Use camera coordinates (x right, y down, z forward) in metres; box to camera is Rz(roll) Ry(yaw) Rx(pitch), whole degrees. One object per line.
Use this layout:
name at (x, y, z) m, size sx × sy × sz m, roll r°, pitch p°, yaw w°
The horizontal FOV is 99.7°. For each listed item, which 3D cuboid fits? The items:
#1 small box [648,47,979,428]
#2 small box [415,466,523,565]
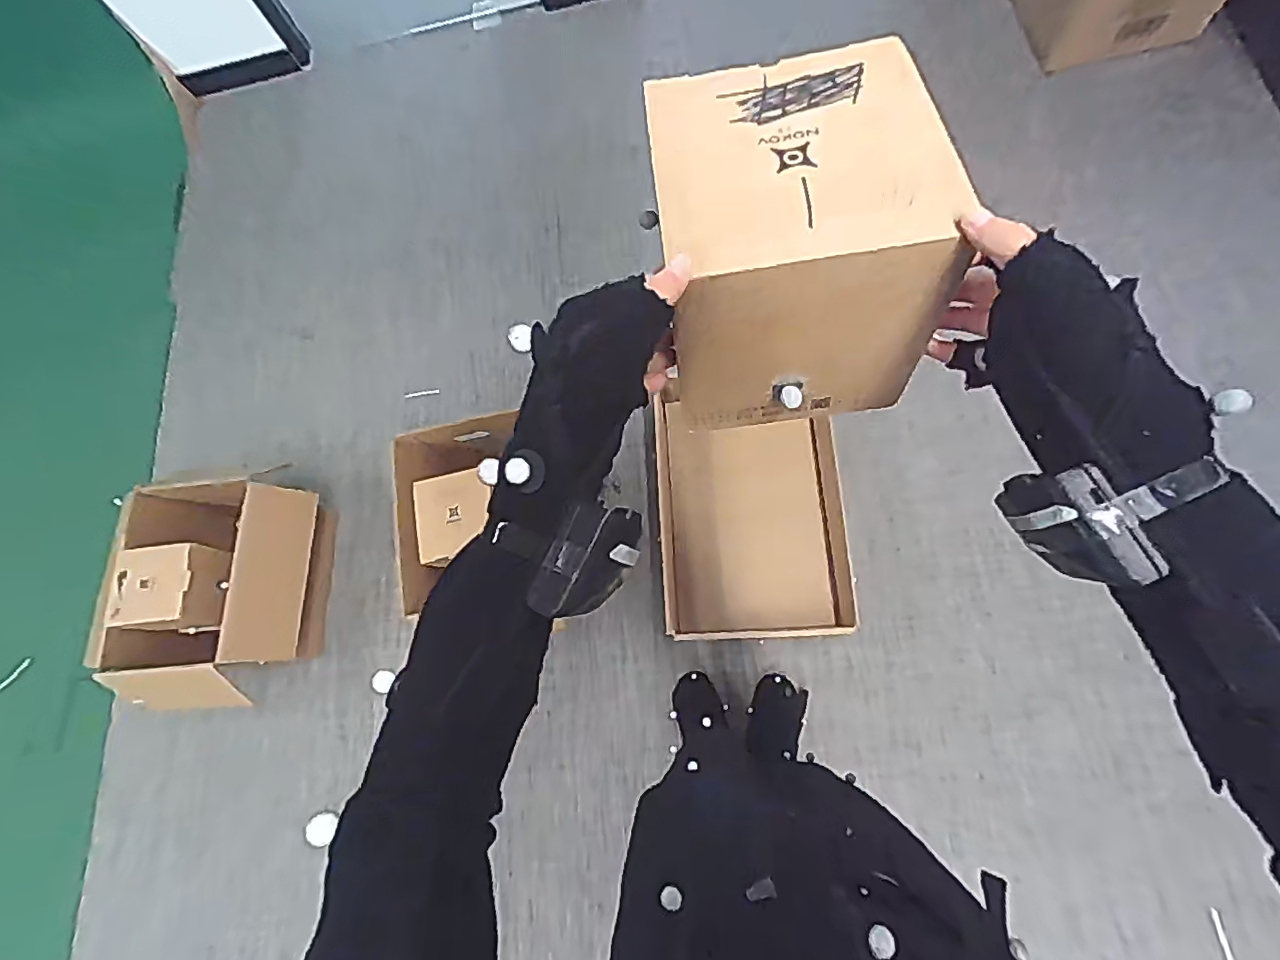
small box at (0.100, -0.160, 0.393) m, size 0.168 × 0.176 × 0.179 m, roll -7°, pitch 65°, yaw 6°
small box at (-0.366, 0.086, 1.180) m, size 0.168 × 0.176 × 0.179 m, roll -13°, pitch 75°, yaw 4°
